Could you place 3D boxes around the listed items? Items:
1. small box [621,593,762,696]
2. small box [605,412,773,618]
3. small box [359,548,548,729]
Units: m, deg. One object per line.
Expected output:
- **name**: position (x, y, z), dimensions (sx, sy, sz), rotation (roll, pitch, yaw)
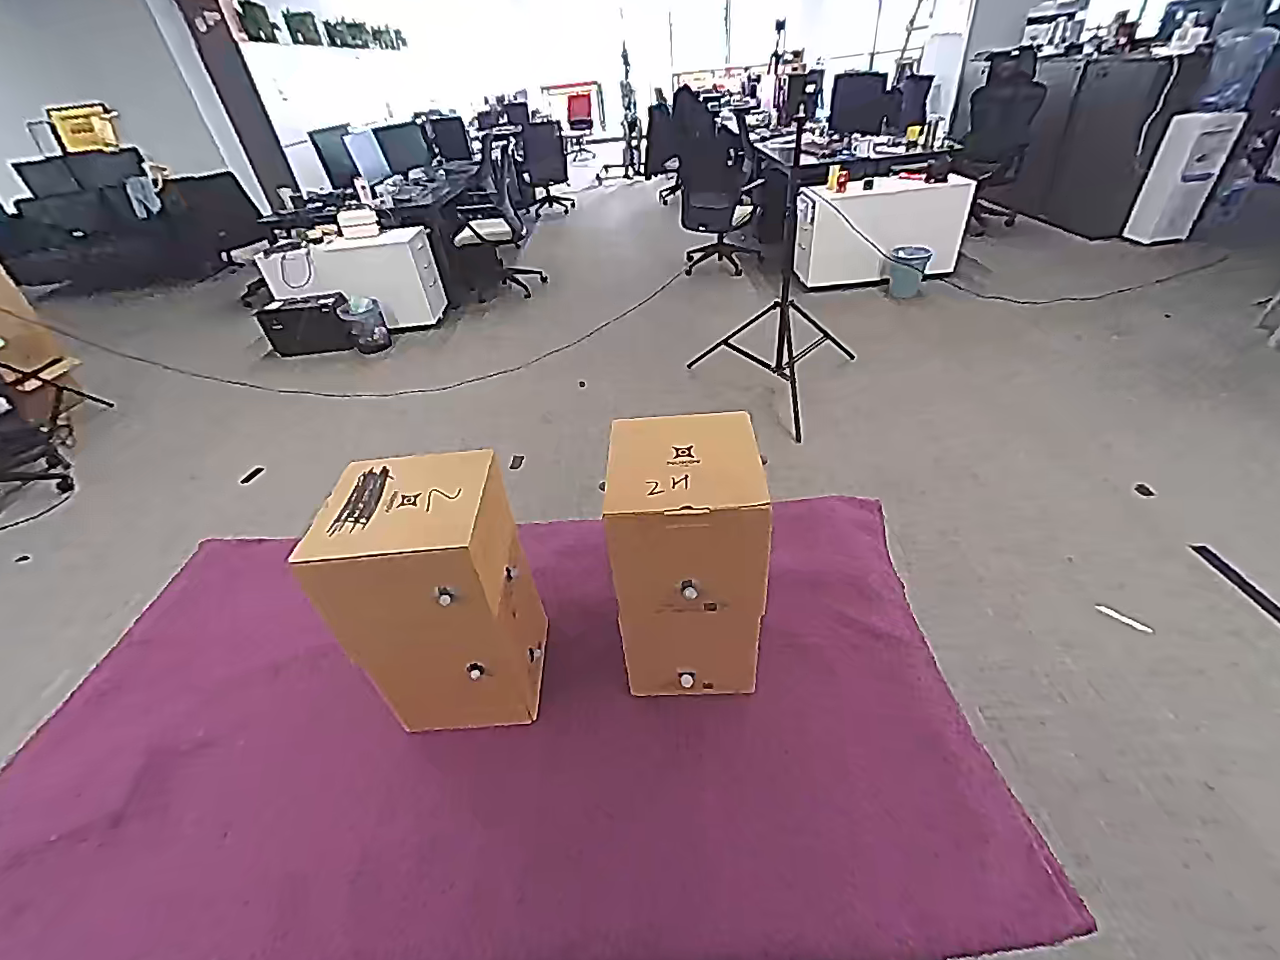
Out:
- **small box**: position (0.068, 0.169, 0.736), dimensions (0.168, 0.176, 0.179), rotation (-3, 38, 5)
- **small box**: position (0.056, 0.039, 0.635), dimensions (0.168, 0.176, 0.179), rotation (-4, 38, 5)
- **small box**: position (-0.232, 0.214, 0.725), dimensions (0.179, 0.176, 0.168), rotation (-5, 37, 1)
